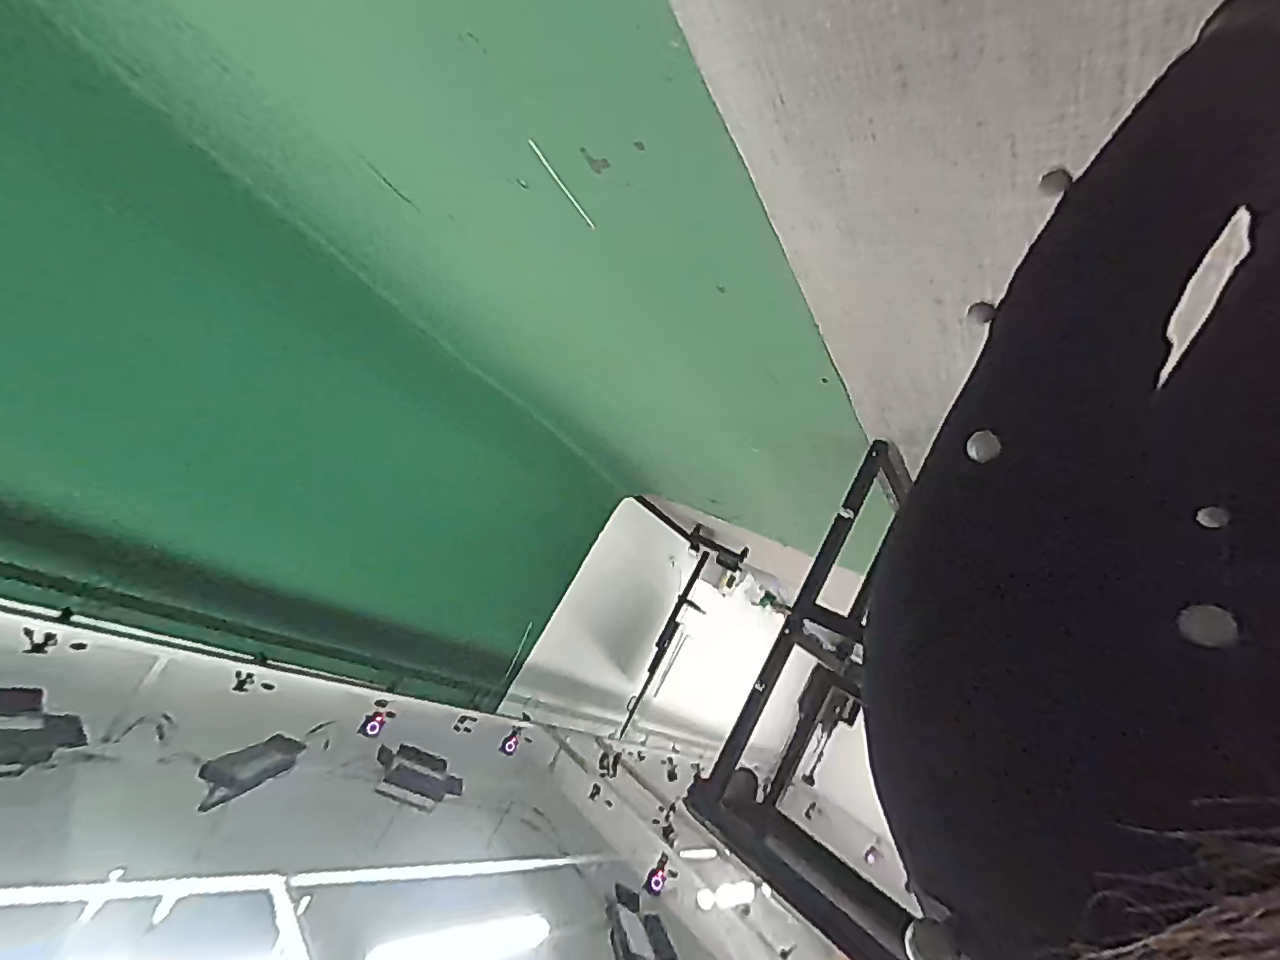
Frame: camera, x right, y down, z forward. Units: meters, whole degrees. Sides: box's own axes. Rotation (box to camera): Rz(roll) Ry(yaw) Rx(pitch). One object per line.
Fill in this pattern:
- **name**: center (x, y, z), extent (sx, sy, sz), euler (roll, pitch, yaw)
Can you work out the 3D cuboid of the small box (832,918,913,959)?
- **small box**: center (0.631, 1.344, 1.473), extent (0.168, 0.176, 0.179), euler (20, 165, 43)
